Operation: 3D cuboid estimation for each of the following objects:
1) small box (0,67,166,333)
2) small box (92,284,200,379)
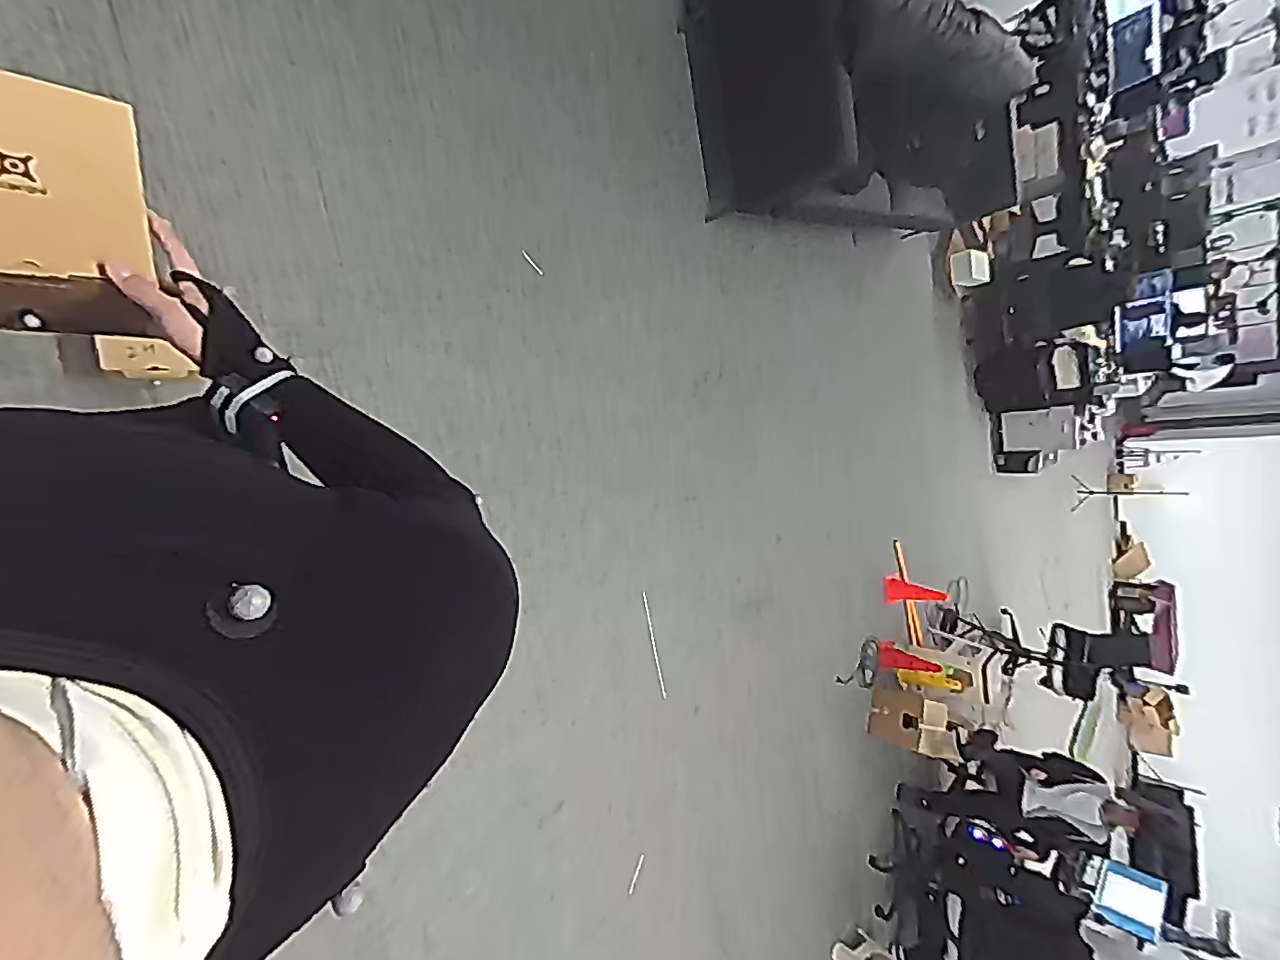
[{"bbox_3d":[-0.576,-0.256,0.518,0.168,0.176,0.179,-8,91,-42],"label":"small box"},{"bbox_3d":[-1.069,-0.325,1.178,0.168,0.176,0.179,-2,93,-39],"label":"small box"}]
